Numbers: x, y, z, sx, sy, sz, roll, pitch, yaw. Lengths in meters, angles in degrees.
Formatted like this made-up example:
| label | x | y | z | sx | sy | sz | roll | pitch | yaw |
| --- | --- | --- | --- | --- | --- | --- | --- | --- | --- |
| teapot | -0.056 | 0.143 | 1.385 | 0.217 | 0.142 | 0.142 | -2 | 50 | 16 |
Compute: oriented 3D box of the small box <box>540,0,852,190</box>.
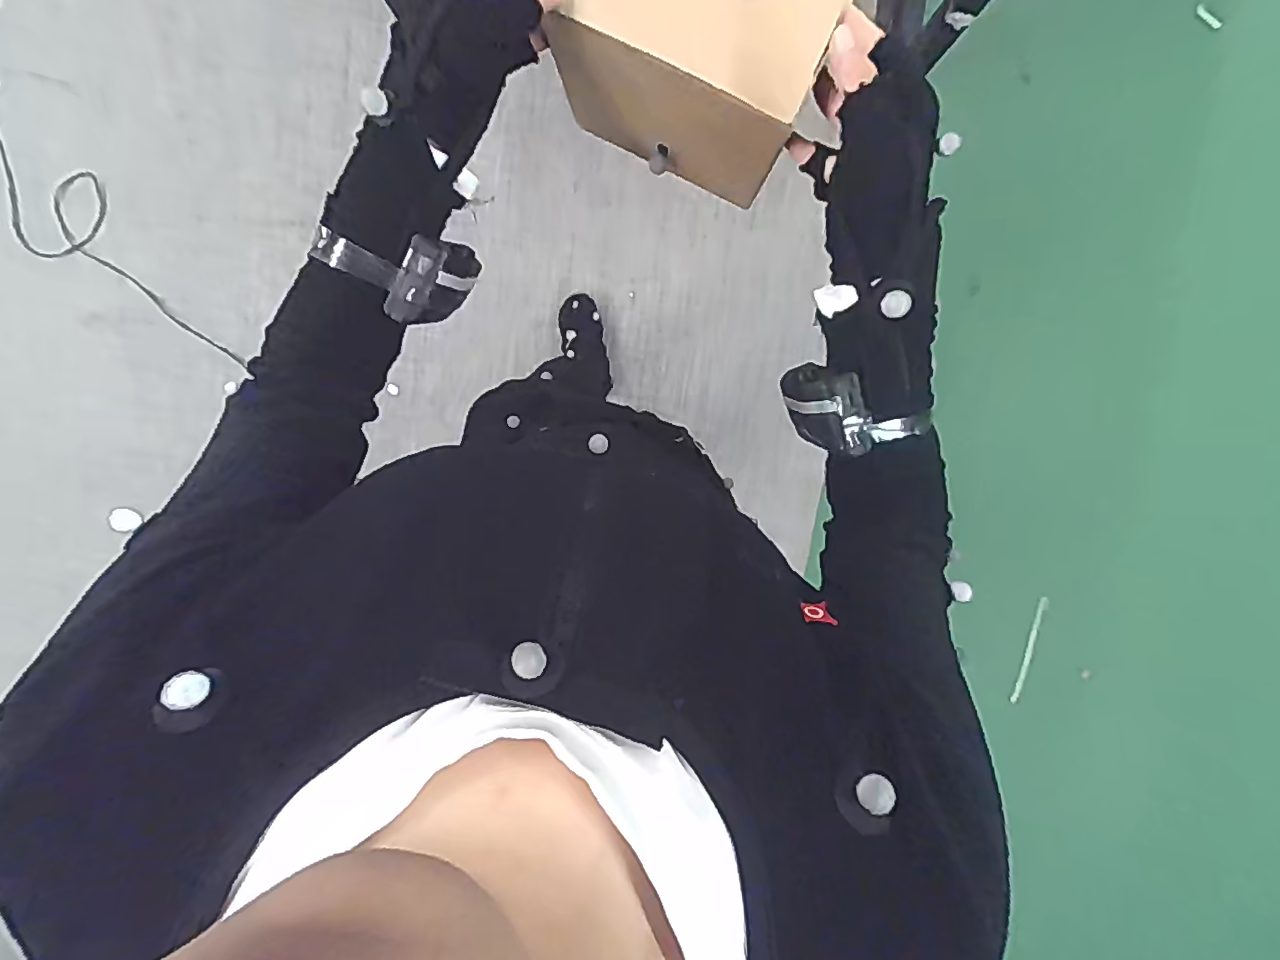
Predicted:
| label | x | y | z | sx | sy | sz | roll | pitch | yaw |
| --- | --- | --- | --- | --- | --- | --- | --- | --- | --- |
| small box | 0.051 | -0.341 | 0.390 | 0.179 | 0.176 | 0.168 | 25 | 100 | -3 |
